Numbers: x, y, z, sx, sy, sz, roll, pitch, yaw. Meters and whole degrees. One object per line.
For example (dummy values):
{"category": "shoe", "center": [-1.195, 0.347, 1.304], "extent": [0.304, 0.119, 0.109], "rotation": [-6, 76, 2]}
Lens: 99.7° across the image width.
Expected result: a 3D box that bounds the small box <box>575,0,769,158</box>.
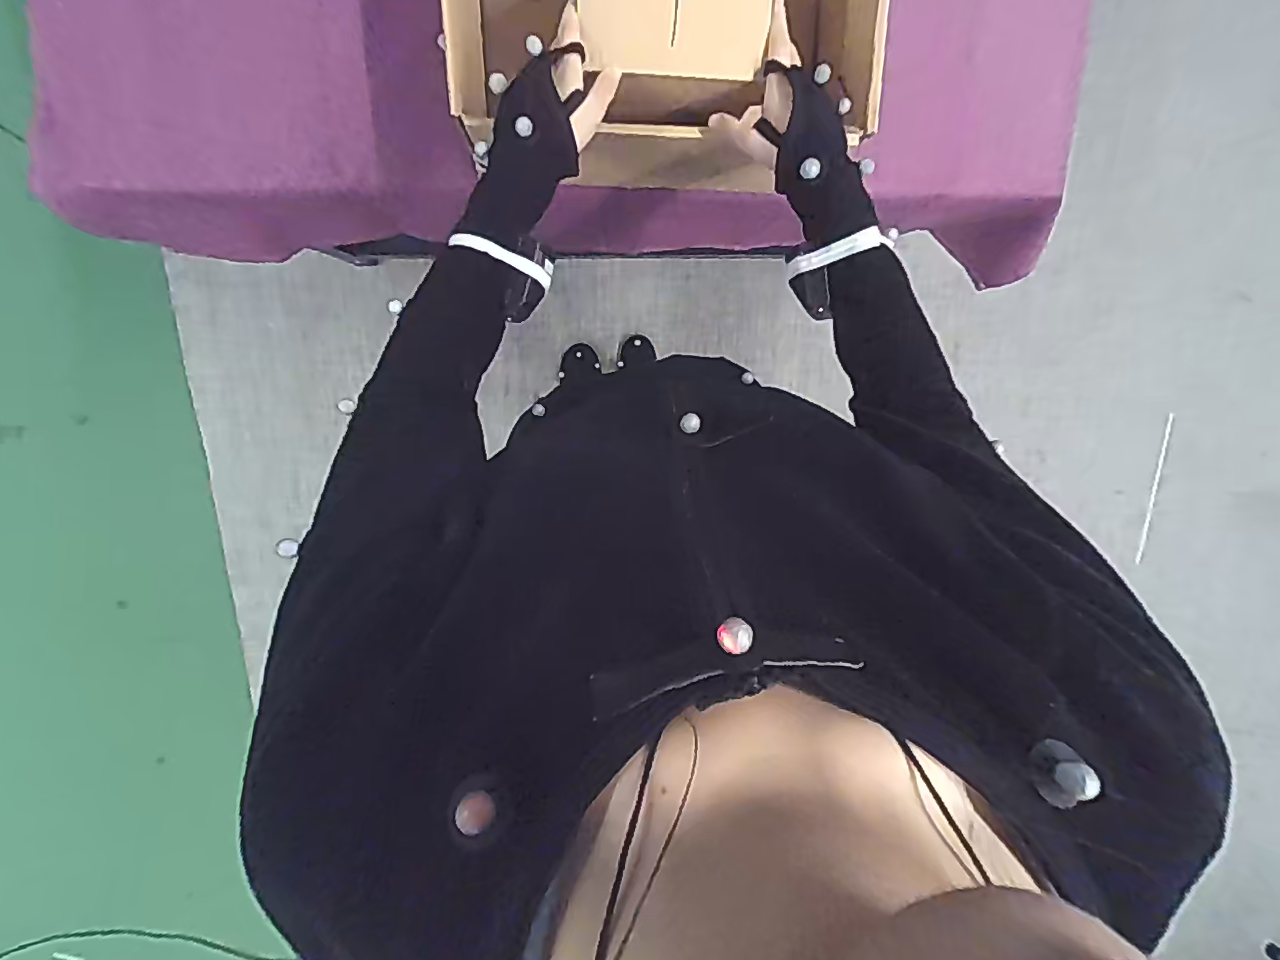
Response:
{"category": "small box", "center": [0.021, -0.442, 0.524], "extent": [0.168, 0.176, 0.179], "rotation": [0, 104, -5]}
